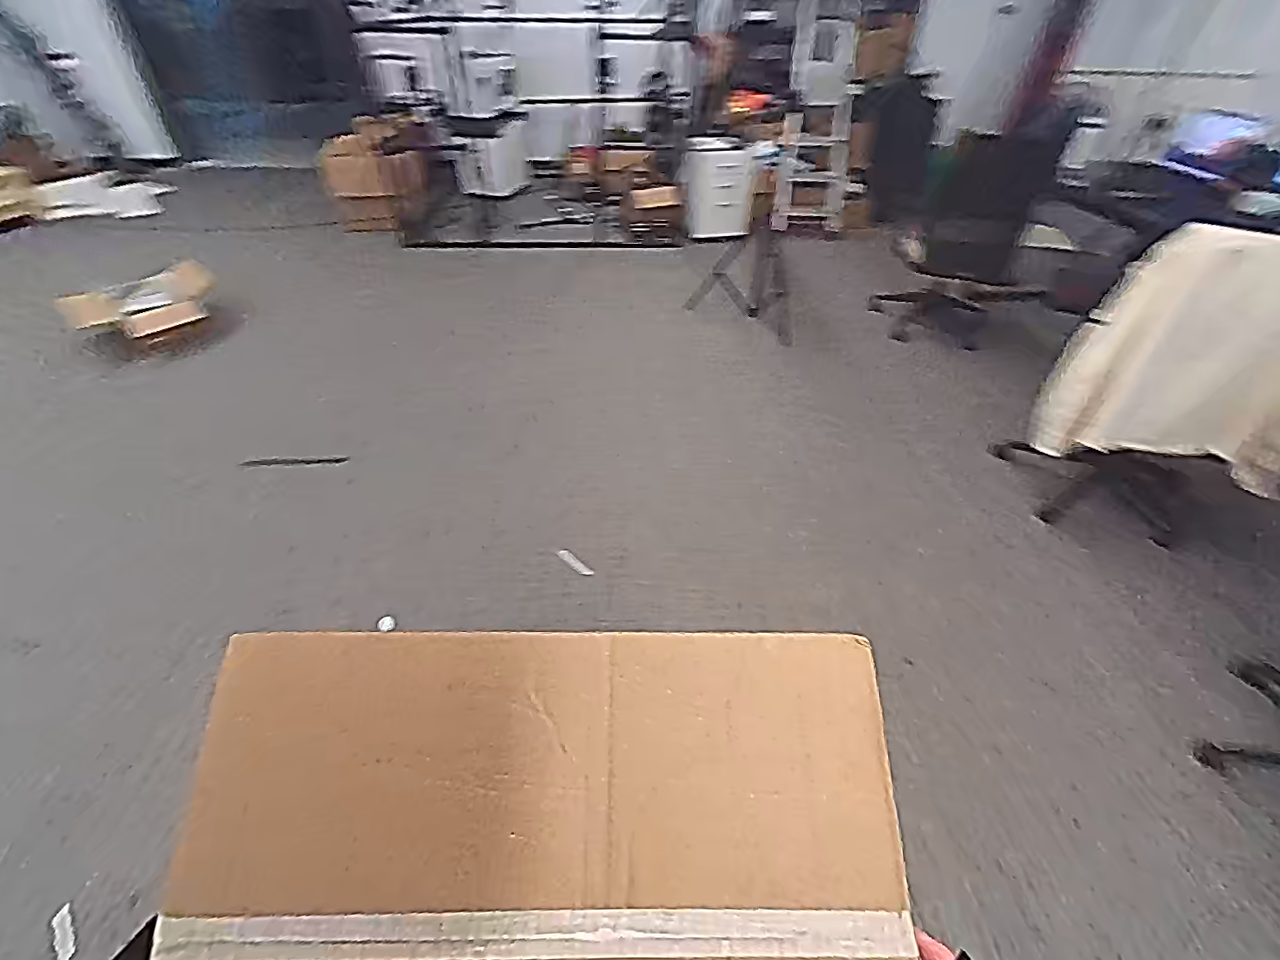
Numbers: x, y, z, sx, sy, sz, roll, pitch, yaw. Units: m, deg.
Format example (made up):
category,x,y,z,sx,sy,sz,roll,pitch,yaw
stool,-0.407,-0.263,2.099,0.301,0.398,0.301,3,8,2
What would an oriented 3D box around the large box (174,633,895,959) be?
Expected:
category,x,y,z,sx,sy,sz,roll,pitch,yaw
large box,-0.060,0.304,0.441,0.408,0.320,0.320,-1,70,-1
